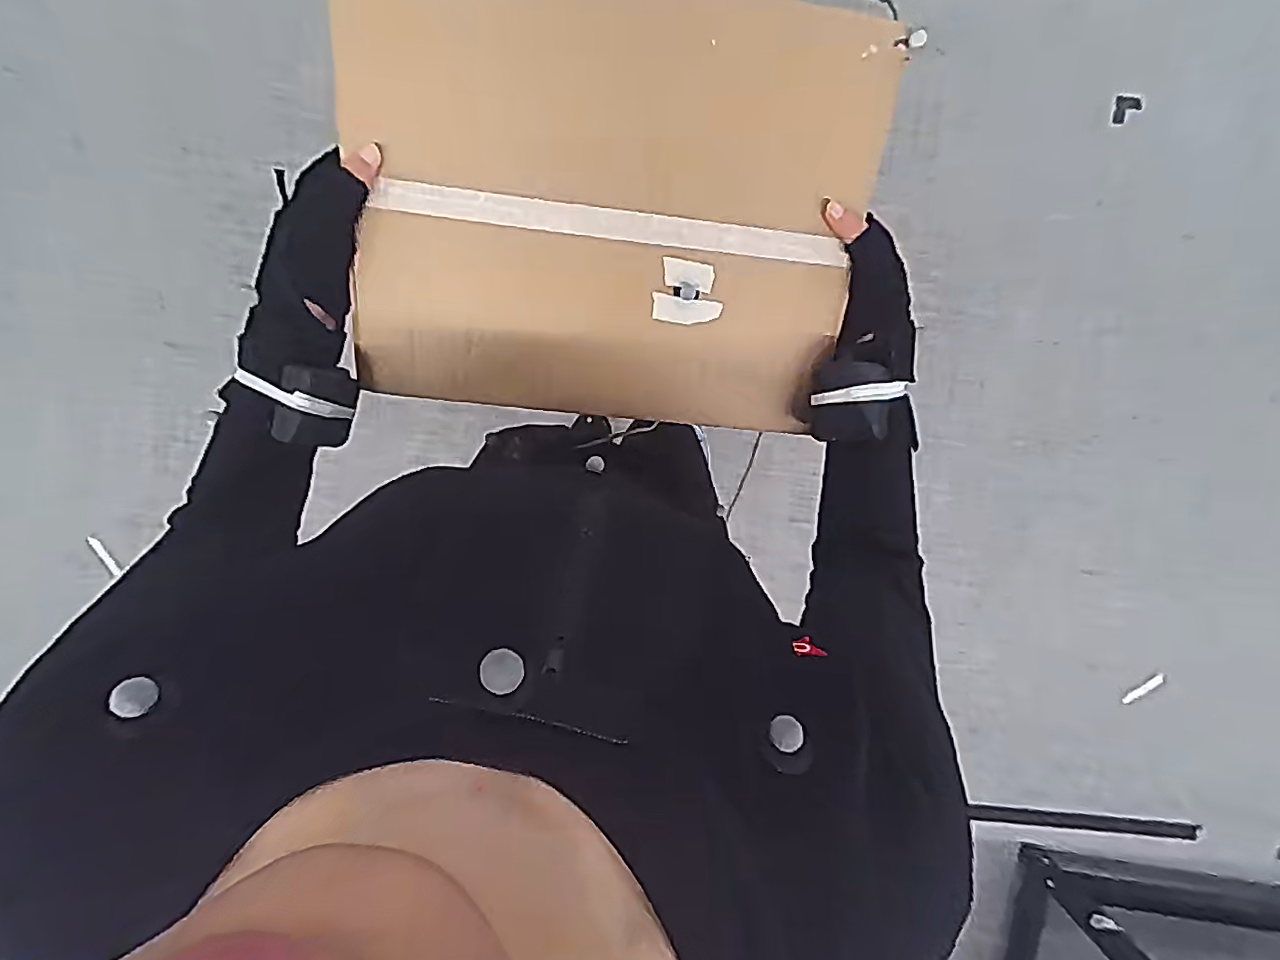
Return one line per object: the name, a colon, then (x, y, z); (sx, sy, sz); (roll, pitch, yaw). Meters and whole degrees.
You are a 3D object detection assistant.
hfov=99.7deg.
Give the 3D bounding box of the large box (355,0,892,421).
large box: (-0.030, -0.266, 0.582); (0.408, 0.320, 0.320); (5, 112, -7)
